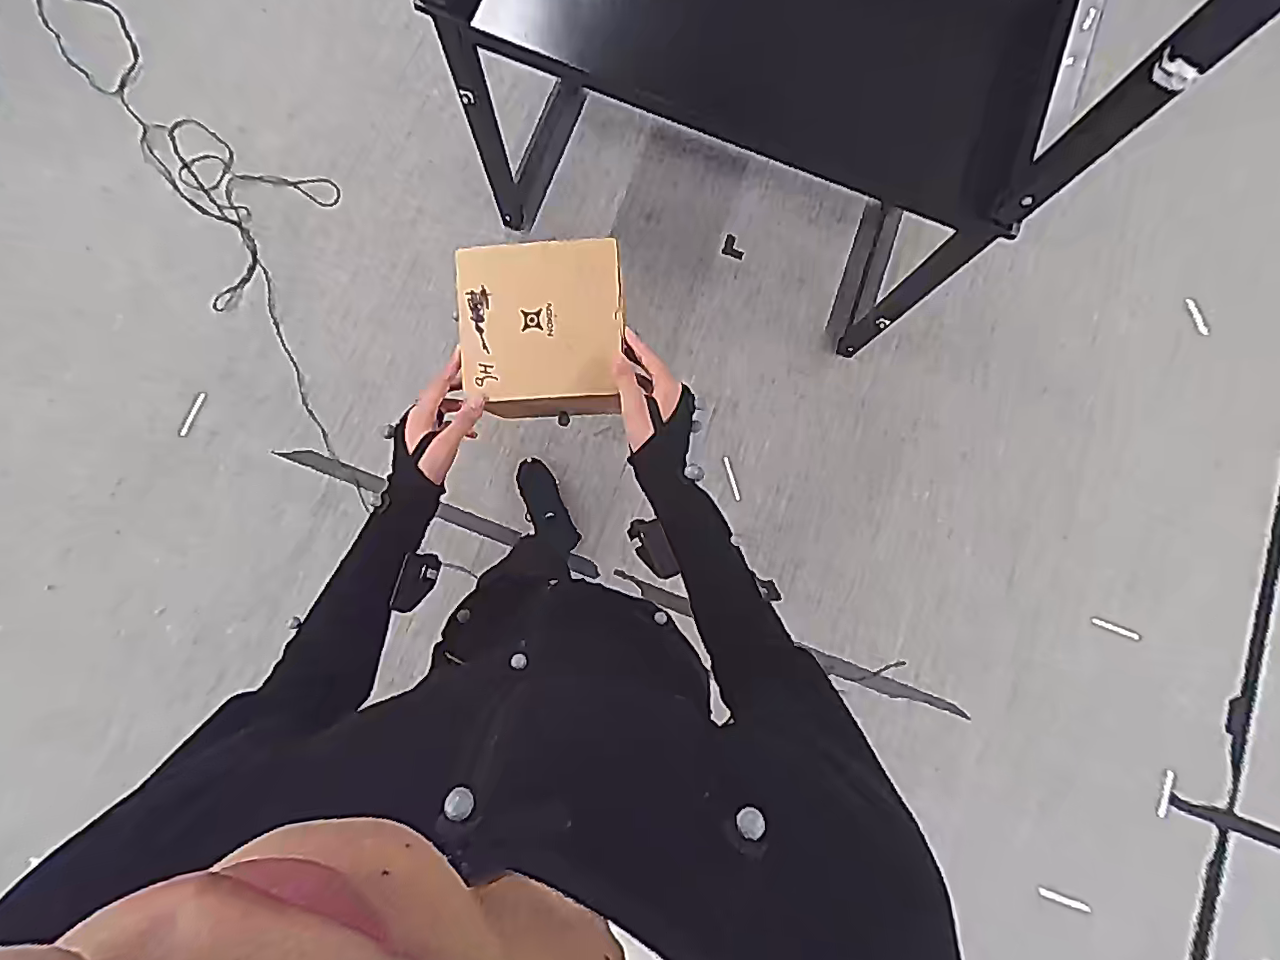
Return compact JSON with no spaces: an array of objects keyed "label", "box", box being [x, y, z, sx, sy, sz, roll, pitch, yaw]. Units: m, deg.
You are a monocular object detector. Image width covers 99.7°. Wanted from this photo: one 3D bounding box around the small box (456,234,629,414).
[{"label":"small box","box":[-0.103,-0.173,0.646,0.179,0.176,0.168,-3,89,2]}]
